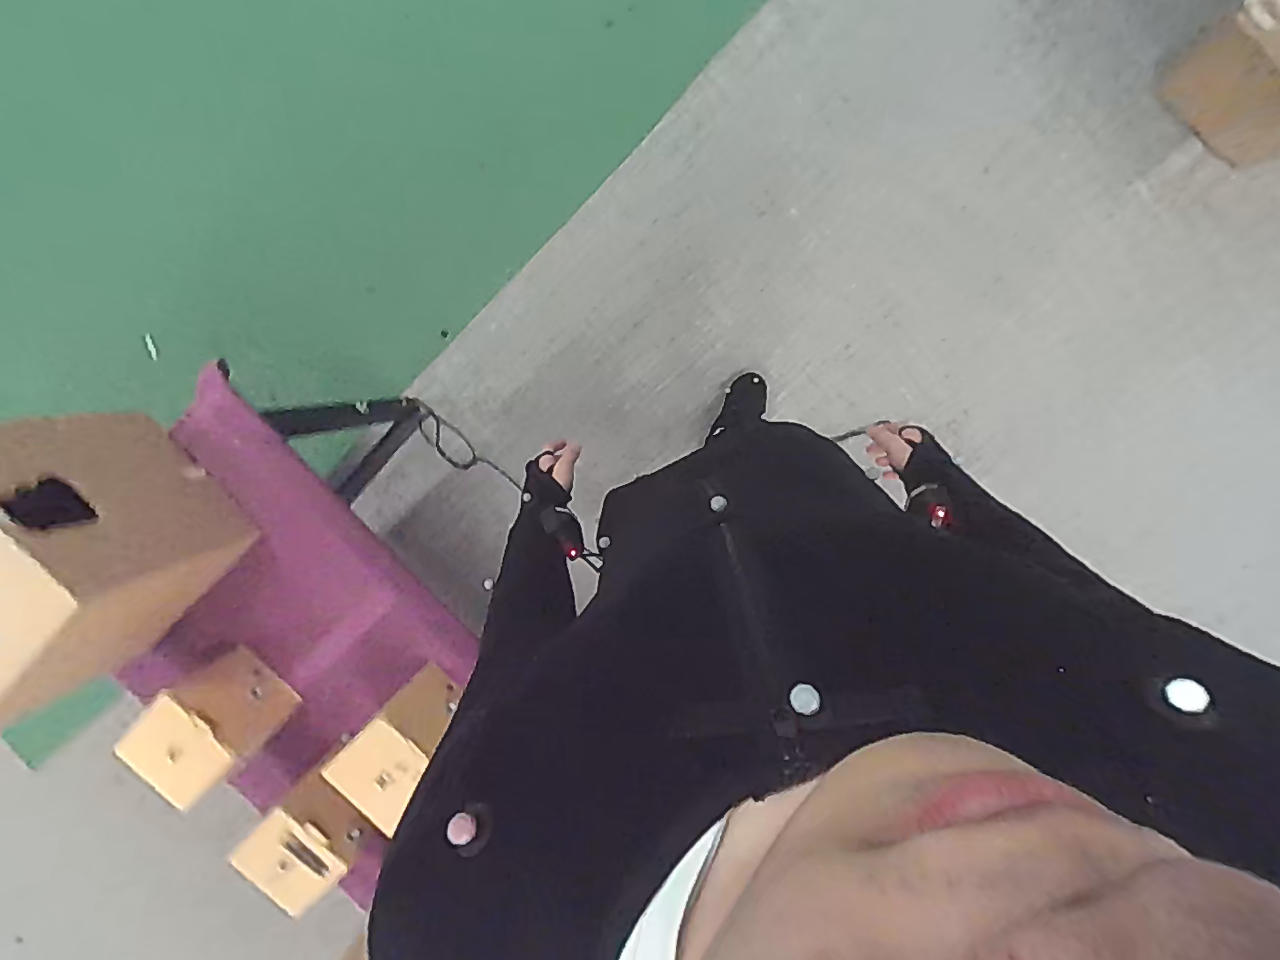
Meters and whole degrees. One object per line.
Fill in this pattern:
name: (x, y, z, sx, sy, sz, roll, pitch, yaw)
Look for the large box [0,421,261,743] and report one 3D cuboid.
large box: (-0.955, 0.156, 0.889, 0.408, 0.320, 0.320, -42, 96, 12)
